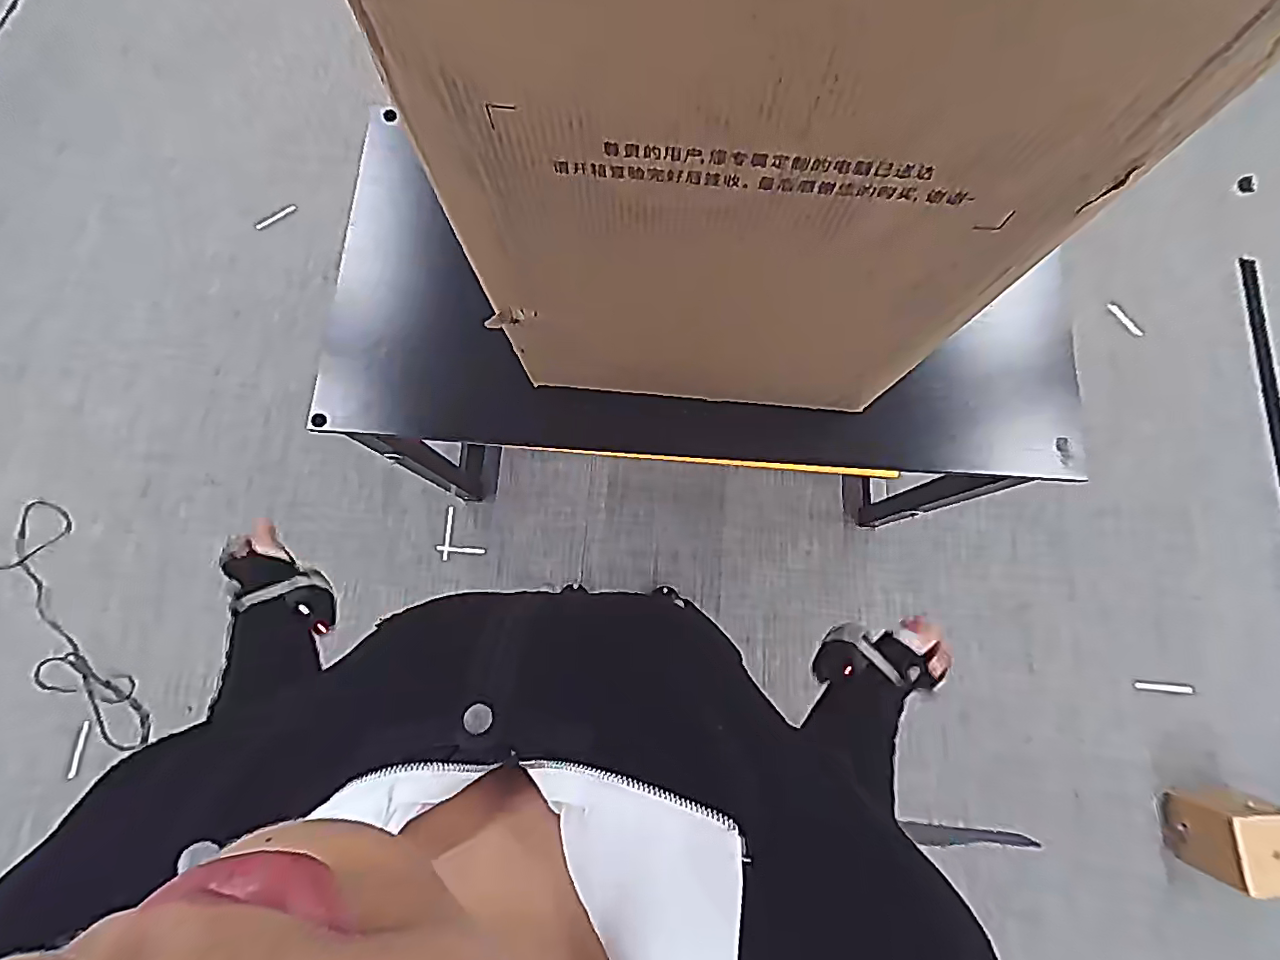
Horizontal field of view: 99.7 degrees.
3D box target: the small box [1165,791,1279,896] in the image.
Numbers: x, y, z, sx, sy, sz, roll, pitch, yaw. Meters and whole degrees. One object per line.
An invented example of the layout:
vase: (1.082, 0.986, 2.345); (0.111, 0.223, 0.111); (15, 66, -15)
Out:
small box: (1.447, 0.870, 1.309); (0.179, 0.176, 0.168); (-3, 77, 0)
